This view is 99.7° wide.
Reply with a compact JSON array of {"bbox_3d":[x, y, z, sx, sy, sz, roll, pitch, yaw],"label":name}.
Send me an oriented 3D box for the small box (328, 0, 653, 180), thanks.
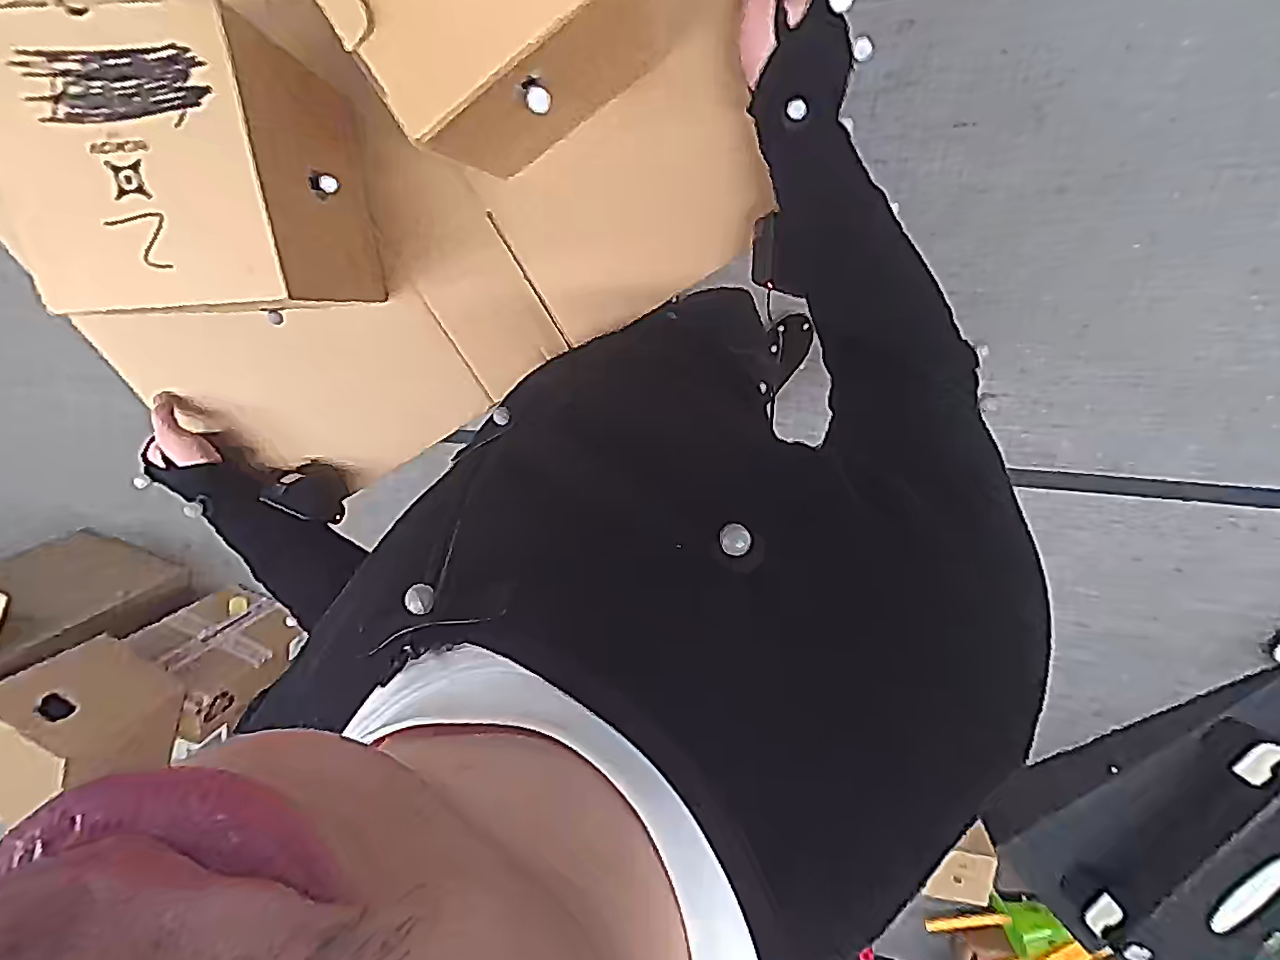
[{"bbox_3d":[-0.101,-0.351,0.391,0.179,0.176,0.168,-28,106,17],"label":"small box"}]
